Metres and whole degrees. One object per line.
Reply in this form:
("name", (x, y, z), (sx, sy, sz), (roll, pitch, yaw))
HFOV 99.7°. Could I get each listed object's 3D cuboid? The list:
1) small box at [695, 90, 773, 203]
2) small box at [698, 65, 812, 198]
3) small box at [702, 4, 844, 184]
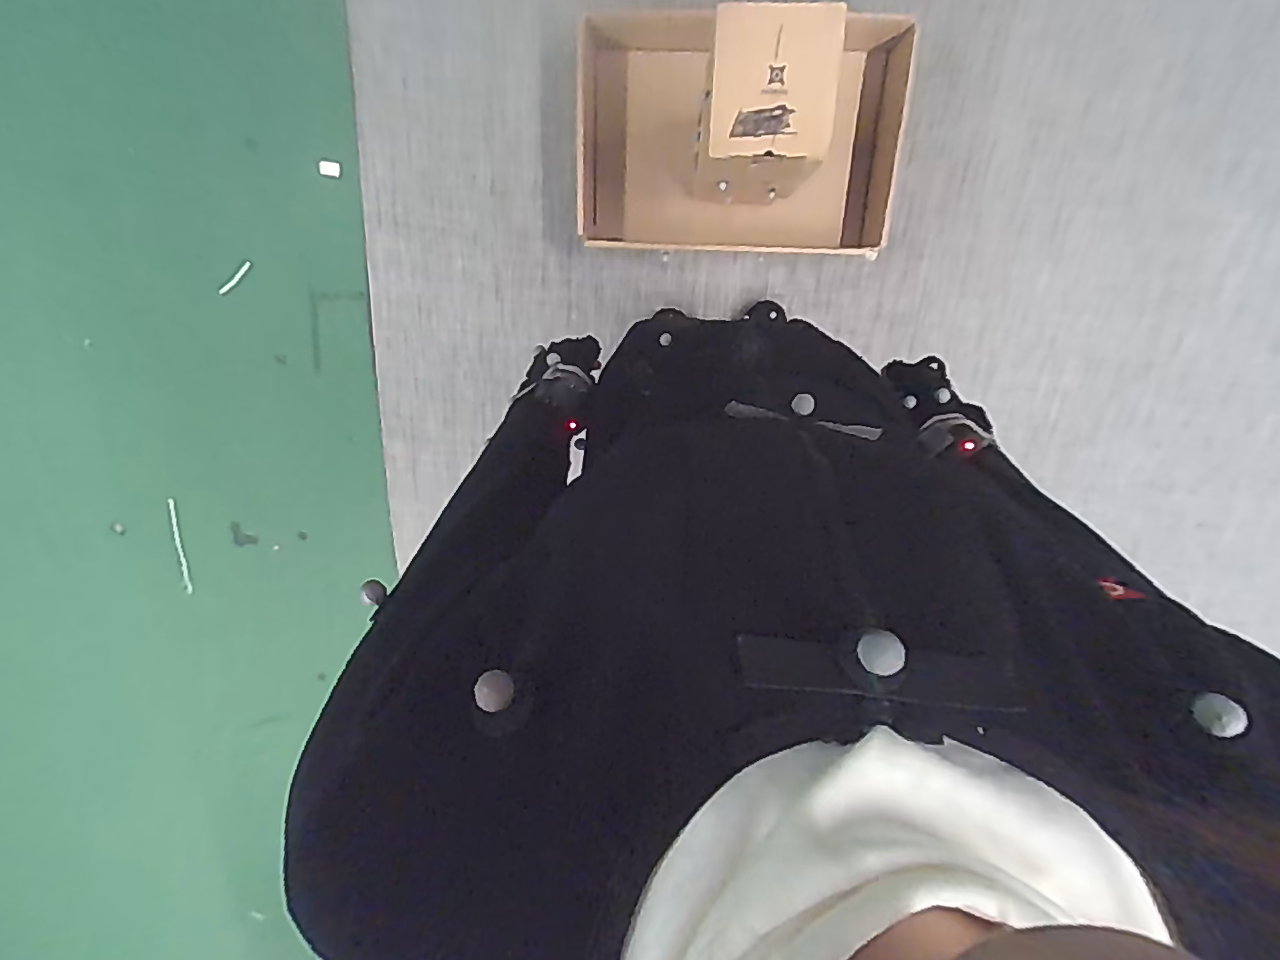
("small box", (0.202, -0.667, 1.096), (0.179, 0.176, 0.168), (2, 108, 3))
("small box", (0.194, -0.592, 0.931), (0.179, 0.176, 0.168), (0, 108, 4))
("small box", (0.181, -0.546, 0.790), (0.168, 0.176, 0.179), (3, 107, 3))
